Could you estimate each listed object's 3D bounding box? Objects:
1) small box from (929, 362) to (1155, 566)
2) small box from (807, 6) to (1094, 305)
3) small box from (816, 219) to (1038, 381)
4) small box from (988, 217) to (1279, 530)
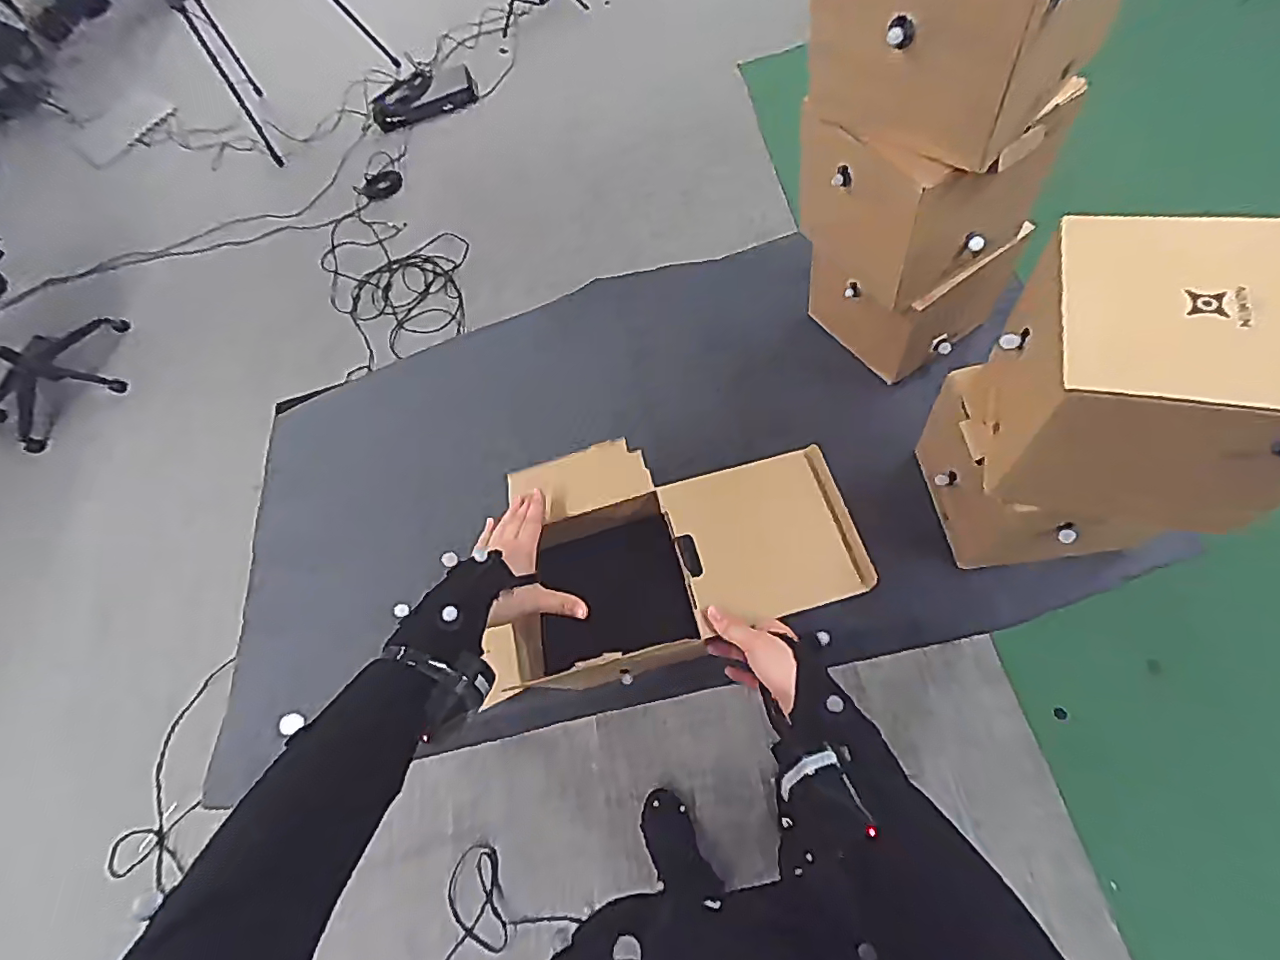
[{"bbox_3d":[0.426,-0.017,0.570,0.179,0.176,0.168,-10,62,10],"label":"small box"},{"bbox_3d":[0.288,-0.320,0.556,0.168,0.176,0.179,-33,63,2],"label":"small box"},{"bbox_3d":[0.347,-0.264,0.701,0.168,0.176,0.179,-35,65,0],"label":"small box"},{"bbox_3d":[0.394,-0.075,0.420,0.179,0.176,0.168,10,67,18],"label":"small box"}]
